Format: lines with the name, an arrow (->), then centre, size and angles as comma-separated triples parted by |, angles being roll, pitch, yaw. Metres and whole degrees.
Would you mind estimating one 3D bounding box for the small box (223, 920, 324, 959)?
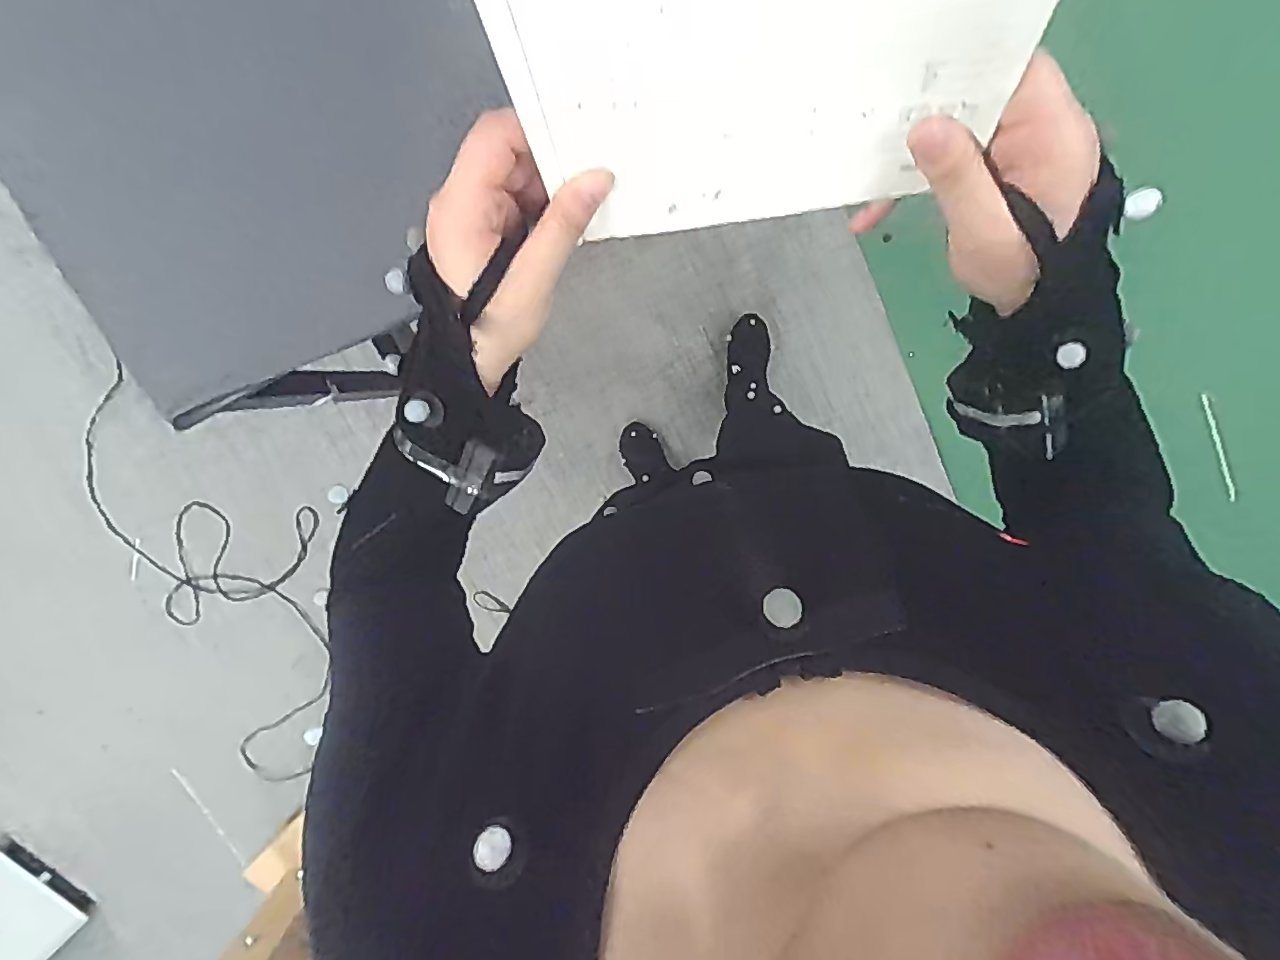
small box -> -0.826, 1.111, 1.168 | 0.179, 0.176, 0.168 | -23, 99, 8
